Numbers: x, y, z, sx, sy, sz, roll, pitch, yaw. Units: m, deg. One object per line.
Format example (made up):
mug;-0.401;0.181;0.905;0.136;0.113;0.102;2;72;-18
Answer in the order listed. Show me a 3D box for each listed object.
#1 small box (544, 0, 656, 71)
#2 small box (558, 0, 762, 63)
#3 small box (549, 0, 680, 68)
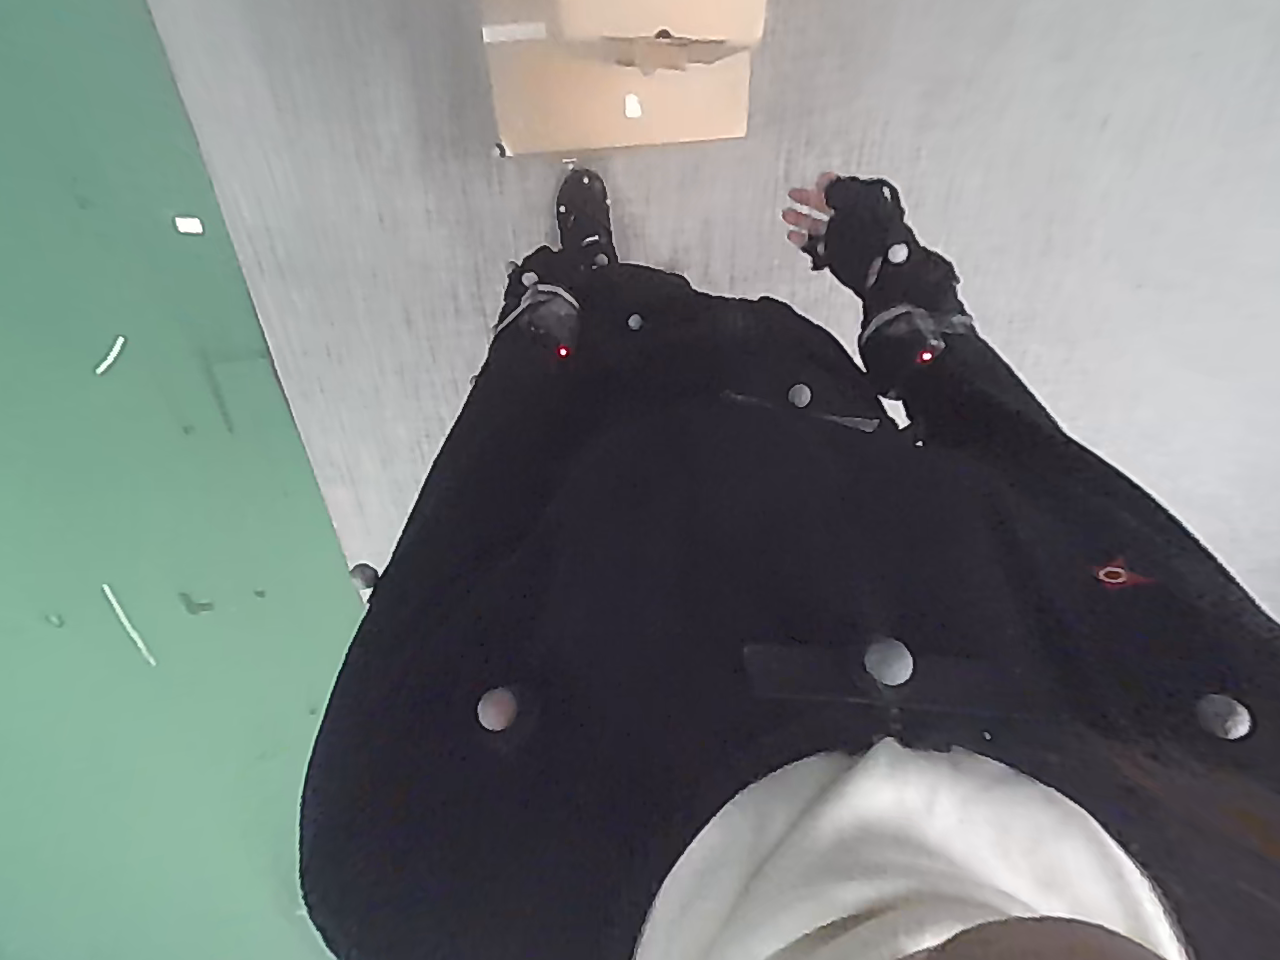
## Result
small box;-0.038;-0.660;0.720;0.179;0.176;0.168;0;122;-7
small box;0.010;-0.471;0.462;0.168;0.176;0.179;-3;124;-6
small box;-0.015;-0.570;0.591;0.168;0.176;0.179;-1;122;-8
